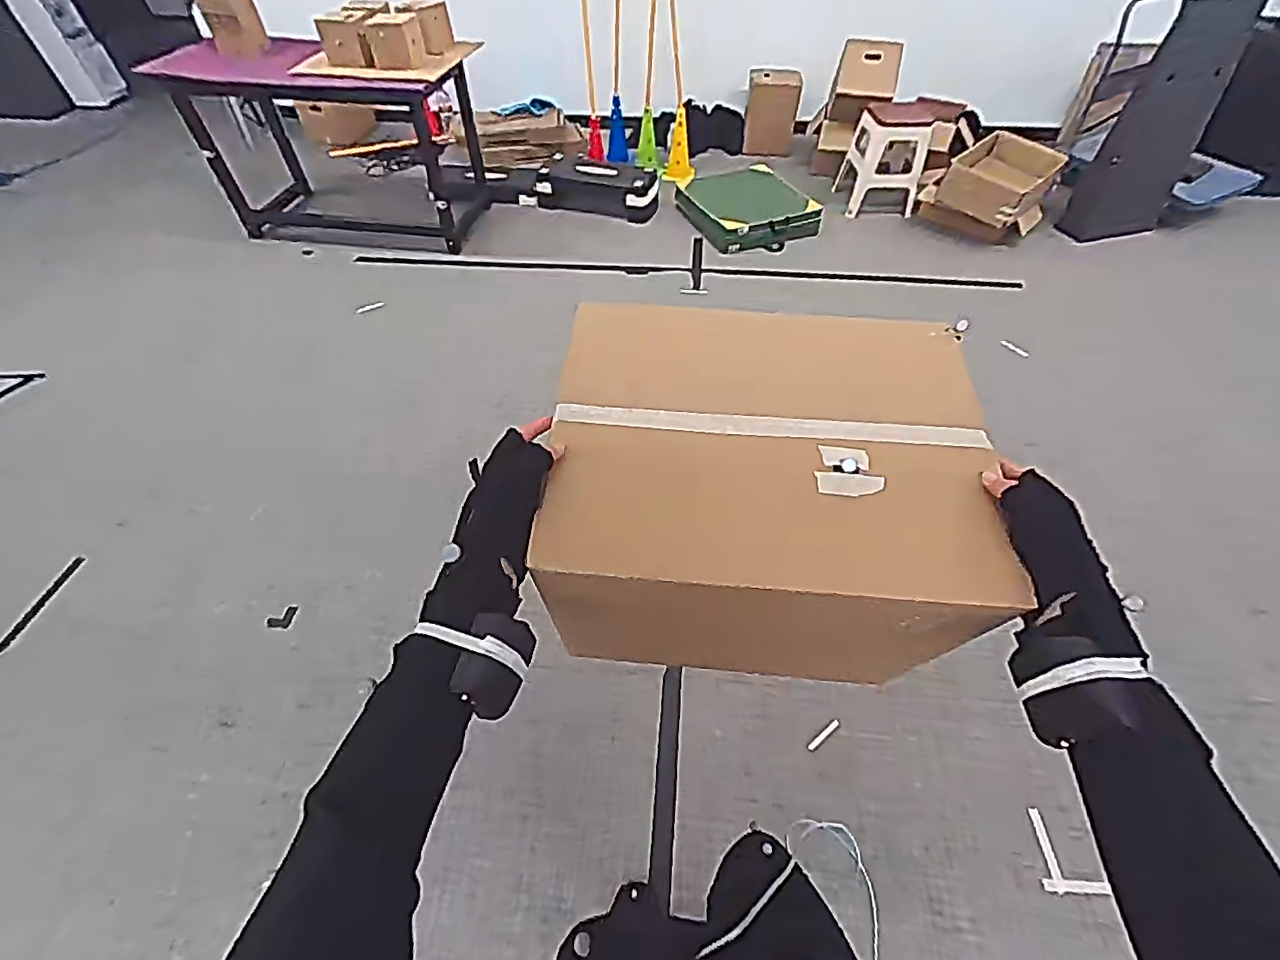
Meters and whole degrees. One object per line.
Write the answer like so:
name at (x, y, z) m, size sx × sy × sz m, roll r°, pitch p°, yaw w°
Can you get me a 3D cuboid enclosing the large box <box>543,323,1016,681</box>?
large box at (0.122, 0.041, 0.653) m, size 0.408 × 0.320 × 0.320 m, roll 4°, pitch 59°, yaw 2°
